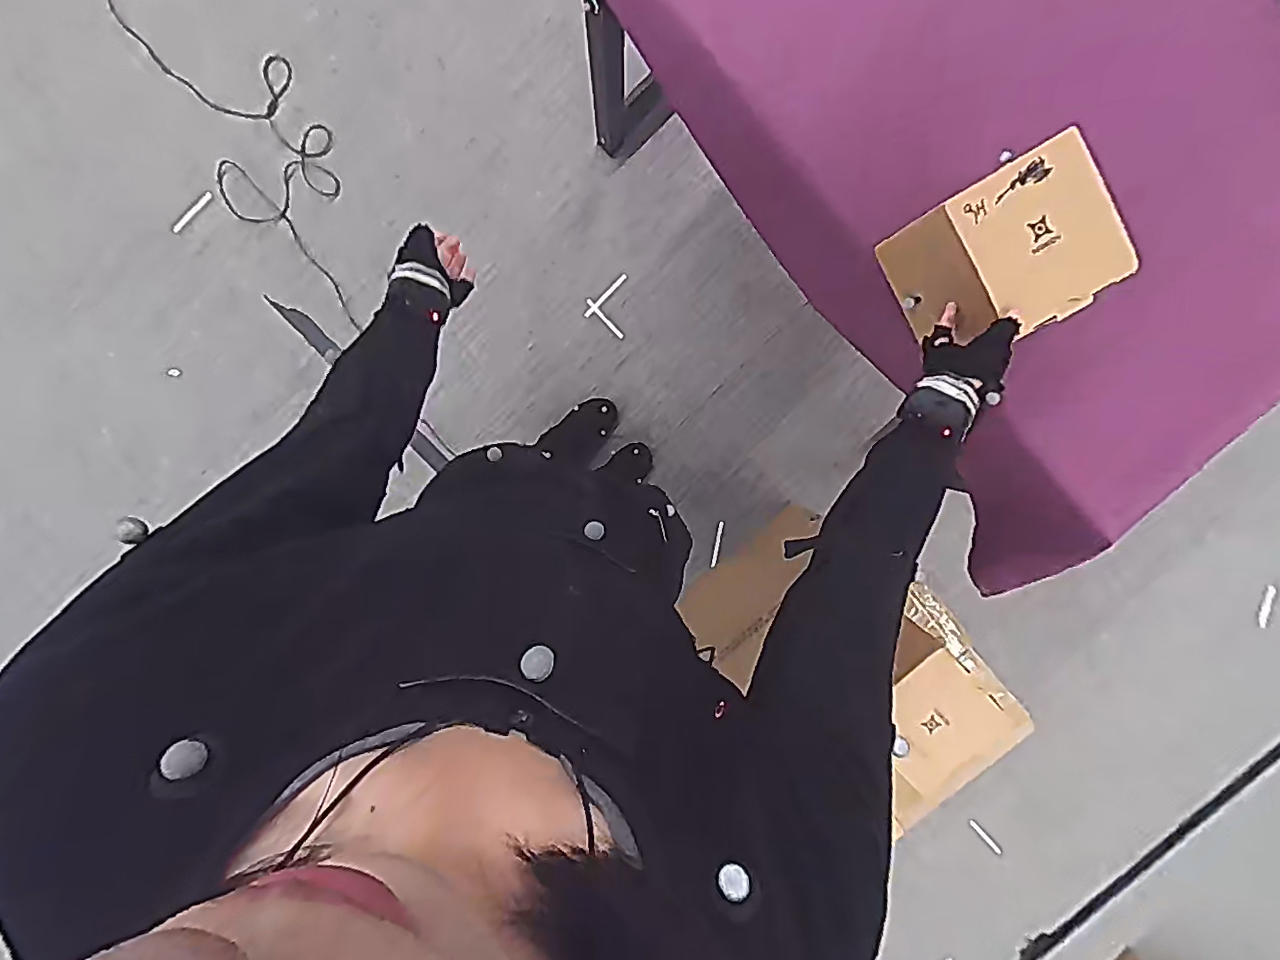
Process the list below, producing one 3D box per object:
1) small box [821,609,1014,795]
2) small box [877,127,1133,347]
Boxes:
[{"bbox_3d":[0.421,0.335,0.854,0.179,0.176,0.168,-42,94,5],"label":"small box"},{"bbox_3d":[0.436,-0.280,0.674,0.168,0.176,0.179,-30,97,1],"label":"small box"}]
